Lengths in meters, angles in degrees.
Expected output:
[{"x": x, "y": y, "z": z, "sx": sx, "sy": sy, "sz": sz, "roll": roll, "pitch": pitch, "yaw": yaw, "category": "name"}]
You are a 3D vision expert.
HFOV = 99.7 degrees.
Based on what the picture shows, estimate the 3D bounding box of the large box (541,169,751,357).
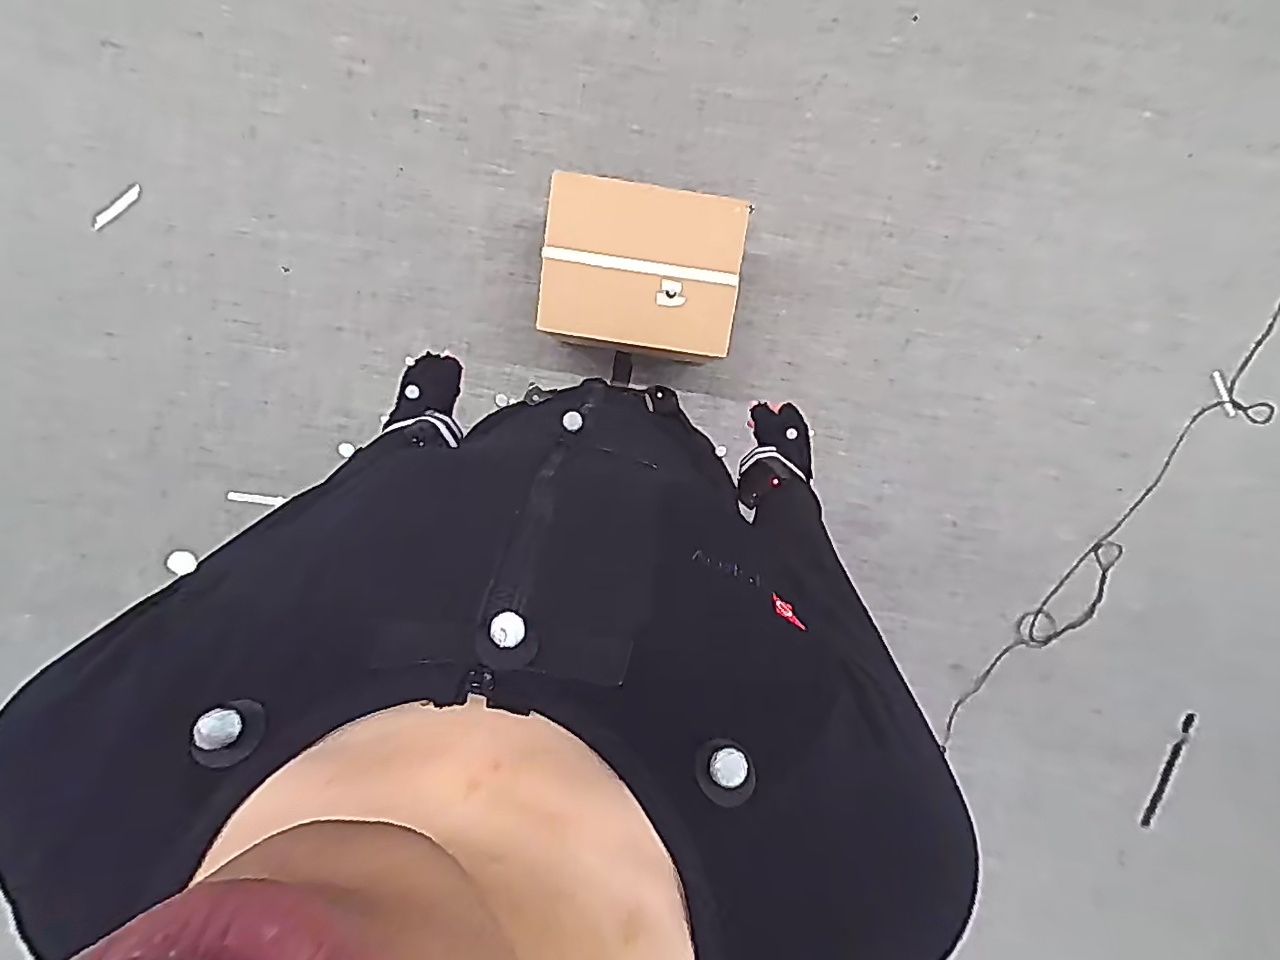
[{"x": 0.003, "y": -0.470, "z": 1.248, "sx": 0.408, "sy": 0.320, "sz": 0.320, "roll": 8, "pitch": 101, "yaw": -3, "category": "large box"}]
